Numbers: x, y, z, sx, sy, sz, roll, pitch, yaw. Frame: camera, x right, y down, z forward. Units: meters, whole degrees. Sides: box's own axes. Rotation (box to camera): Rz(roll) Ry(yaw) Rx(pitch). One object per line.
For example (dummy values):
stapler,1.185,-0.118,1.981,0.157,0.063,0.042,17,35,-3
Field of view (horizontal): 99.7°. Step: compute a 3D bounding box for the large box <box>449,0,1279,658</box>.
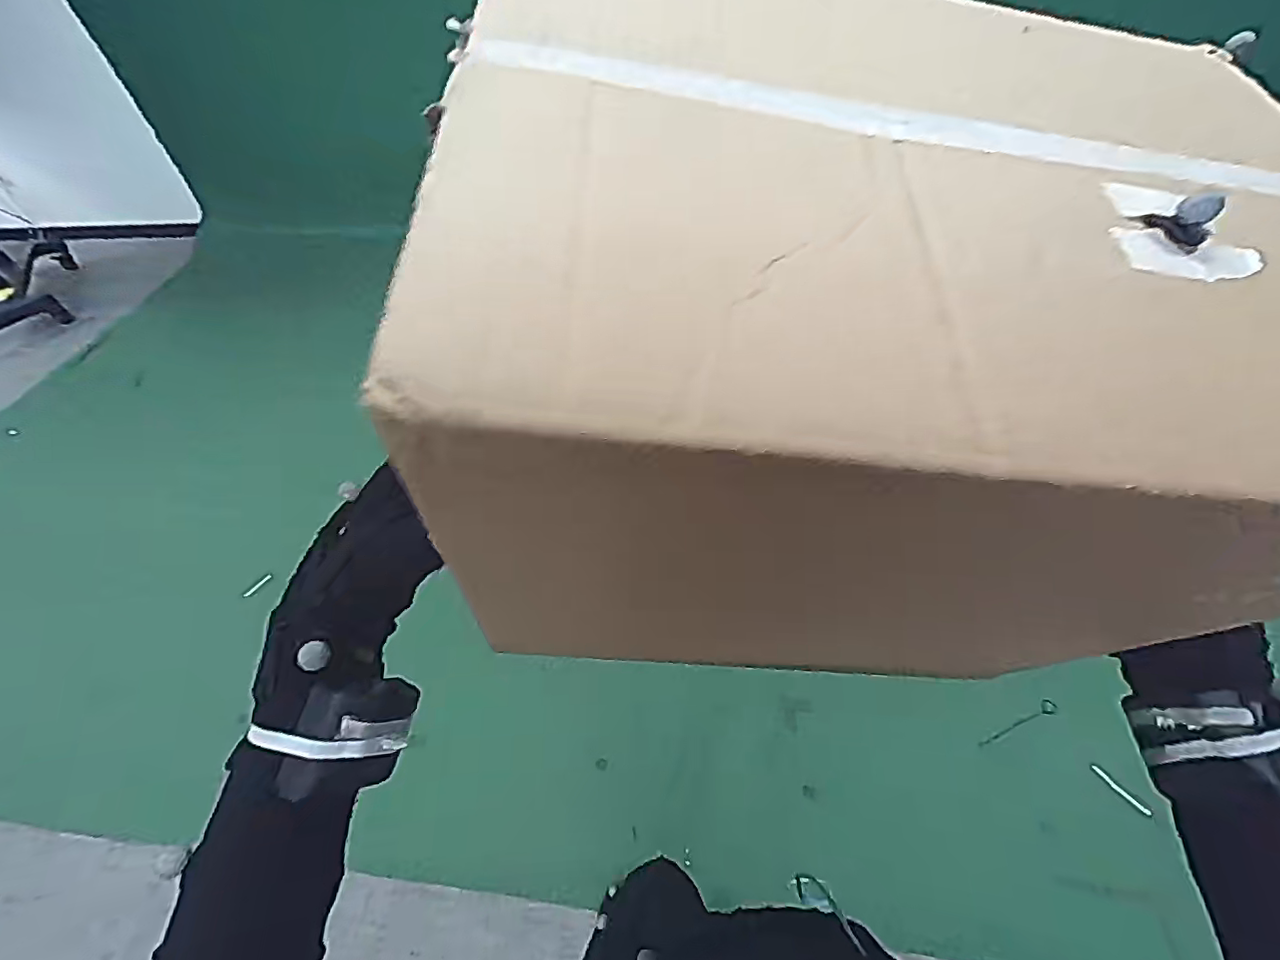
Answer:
large box,0.118,-0.067,0.371,0.408,0.320,0.320,5,62,-7
